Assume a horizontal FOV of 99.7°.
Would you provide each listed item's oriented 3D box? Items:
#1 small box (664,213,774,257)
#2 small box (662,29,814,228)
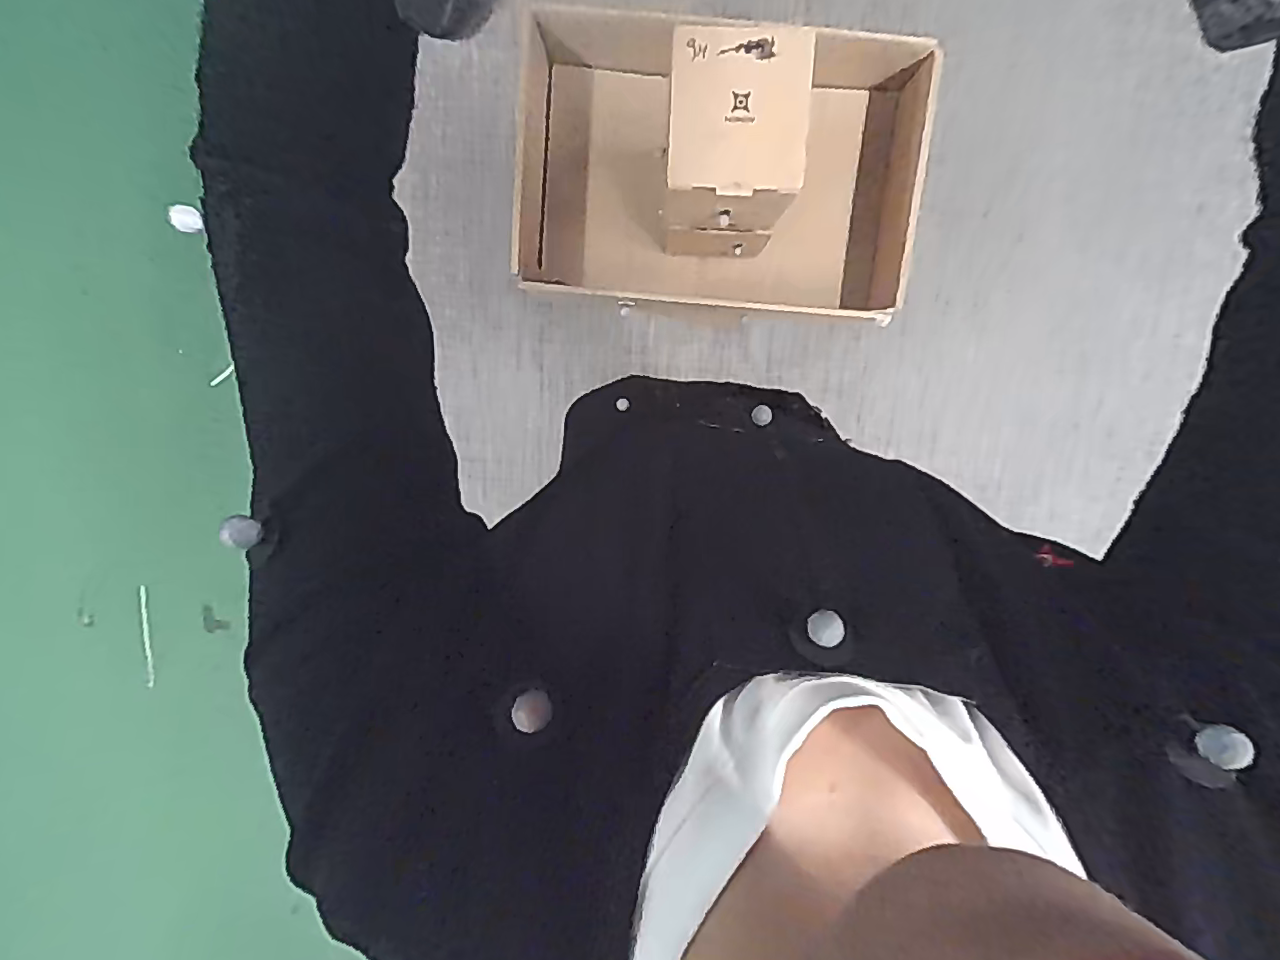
[{"bbox_3d":[0.126,-0.473,0.880,0.168,0.176,0.179,3,98,0],"label":"small box"},{"bbox_3d":[0.116,-0.448,0.719,0.168,0.176,0.179,3,101,0],"label":"small box"}]
